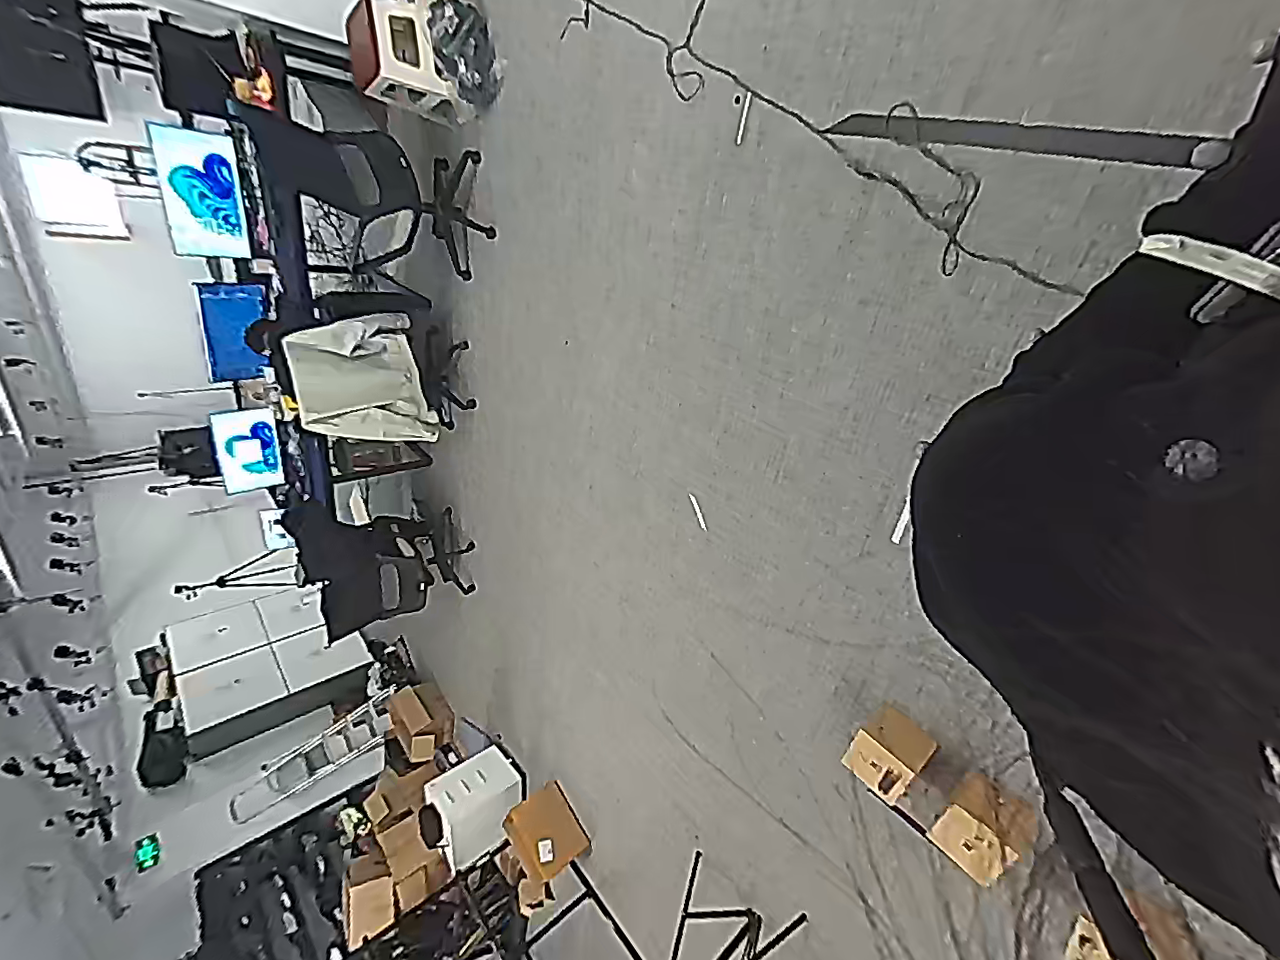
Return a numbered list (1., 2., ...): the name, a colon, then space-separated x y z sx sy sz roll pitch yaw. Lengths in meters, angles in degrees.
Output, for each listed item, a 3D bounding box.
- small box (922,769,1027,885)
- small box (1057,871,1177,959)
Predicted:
1. small box: 0.920 0.943 1.482 0.168 0.176 0.179 36 127 34
2. small box: 1.139 1.097 1.290 0.179 0.176 0.168 20 116 42
